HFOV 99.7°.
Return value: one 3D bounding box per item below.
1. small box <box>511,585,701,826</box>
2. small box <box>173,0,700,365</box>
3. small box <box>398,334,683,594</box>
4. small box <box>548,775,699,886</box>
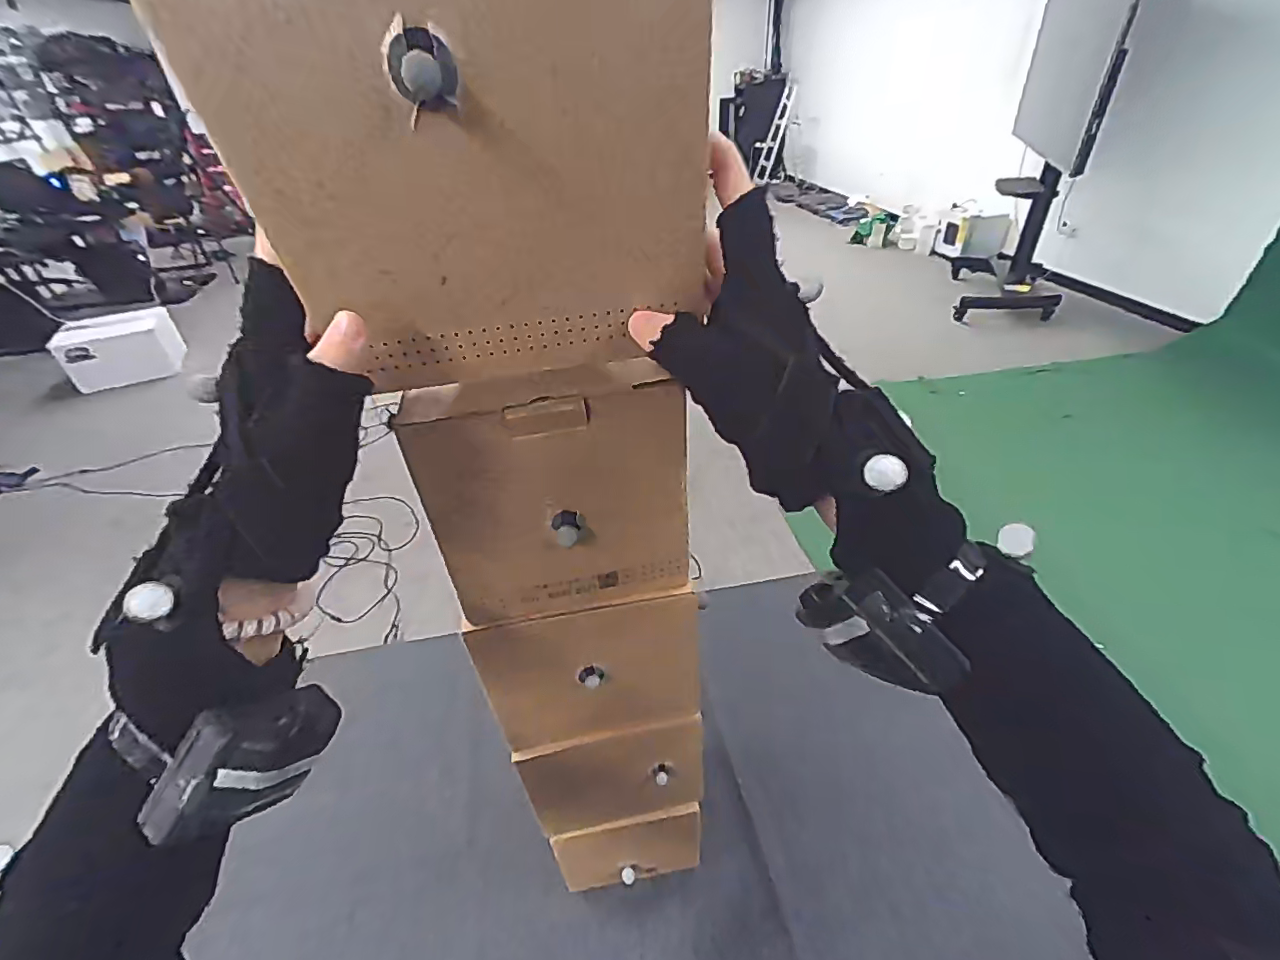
[{"bbox_3d":[-0.039,0.245,0.596,0.179,0.176,0.168,-9,36,-7],"label":"small box"},{"bbox_3d":[-0.070,-0.173,0.263,0.179,0.176,0.168,-9,49,-4],"label":"small box"},{"bbox_3d":[-0.064,-0.030,0.419,0.168,0.176,0.179,-9,36,-6],"label":"small box"},{"bbox_3d":[-0.025,0.377,0.691,0.168,0.176,0.179,-8,37,-5],"label":"small box"}]
